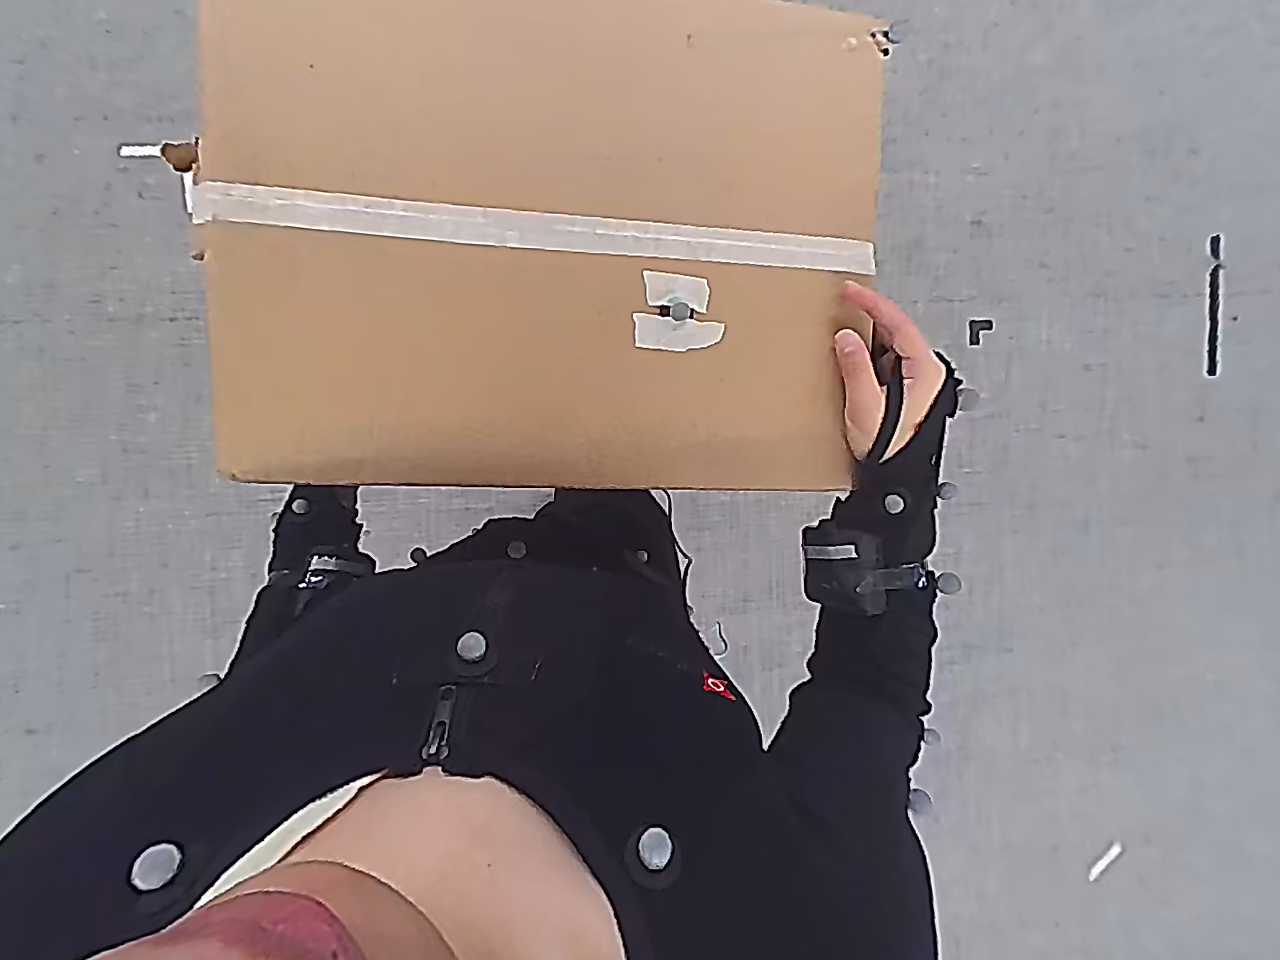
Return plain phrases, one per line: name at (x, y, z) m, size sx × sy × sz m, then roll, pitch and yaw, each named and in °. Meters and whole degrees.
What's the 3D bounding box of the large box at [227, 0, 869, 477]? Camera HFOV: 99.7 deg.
large box at (-0.066, -0.169, 0.492) m, size 0.408 × 0.320 × 0.320 m, roll 0°, pitch 95°, yaw -11°
